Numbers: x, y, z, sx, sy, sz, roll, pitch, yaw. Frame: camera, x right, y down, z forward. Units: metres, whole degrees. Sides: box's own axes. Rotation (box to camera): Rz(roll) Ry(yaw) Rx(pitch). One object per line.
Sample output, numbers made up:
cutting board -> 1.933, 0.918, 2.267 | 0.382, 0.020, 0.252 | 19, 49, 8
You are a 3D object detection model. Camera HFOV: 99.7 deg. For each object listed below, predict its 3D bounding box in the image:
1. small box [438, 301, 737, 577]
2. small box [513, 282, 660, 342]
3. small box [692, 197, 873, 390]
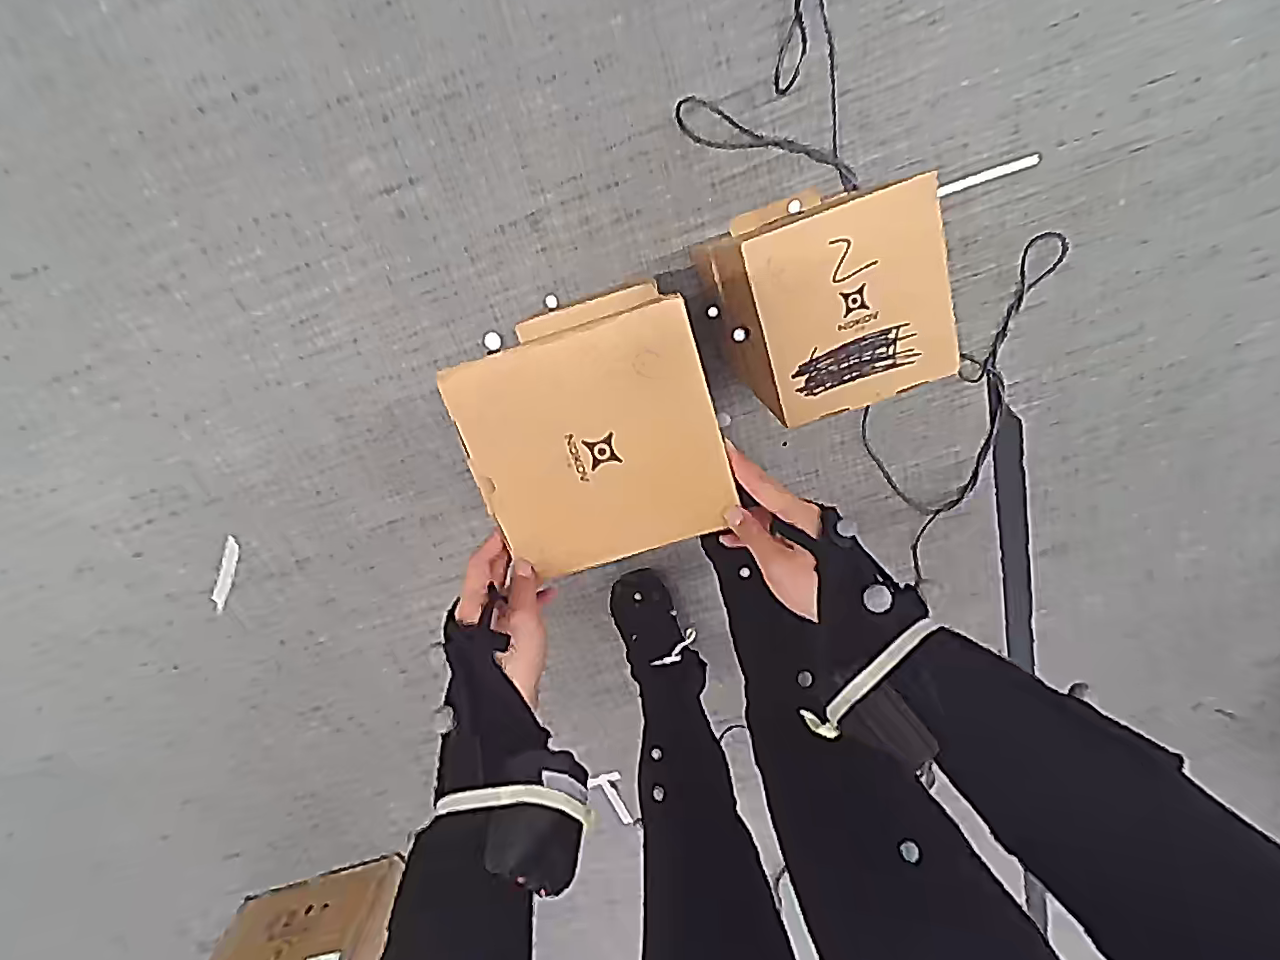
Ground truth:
small box -> -0.033, -0.048, 0.458 | 0.179, 0.176, 0.168 | -16, 107, 6
small box -> -0.045, -0.160, 0.724 | 0.179, 0.176, 0.168 | -14, 112, 6
small box -> 0.173, -0.239, 0.700 | 0.168, 0.176, 0.179 | -19, 112, 6
